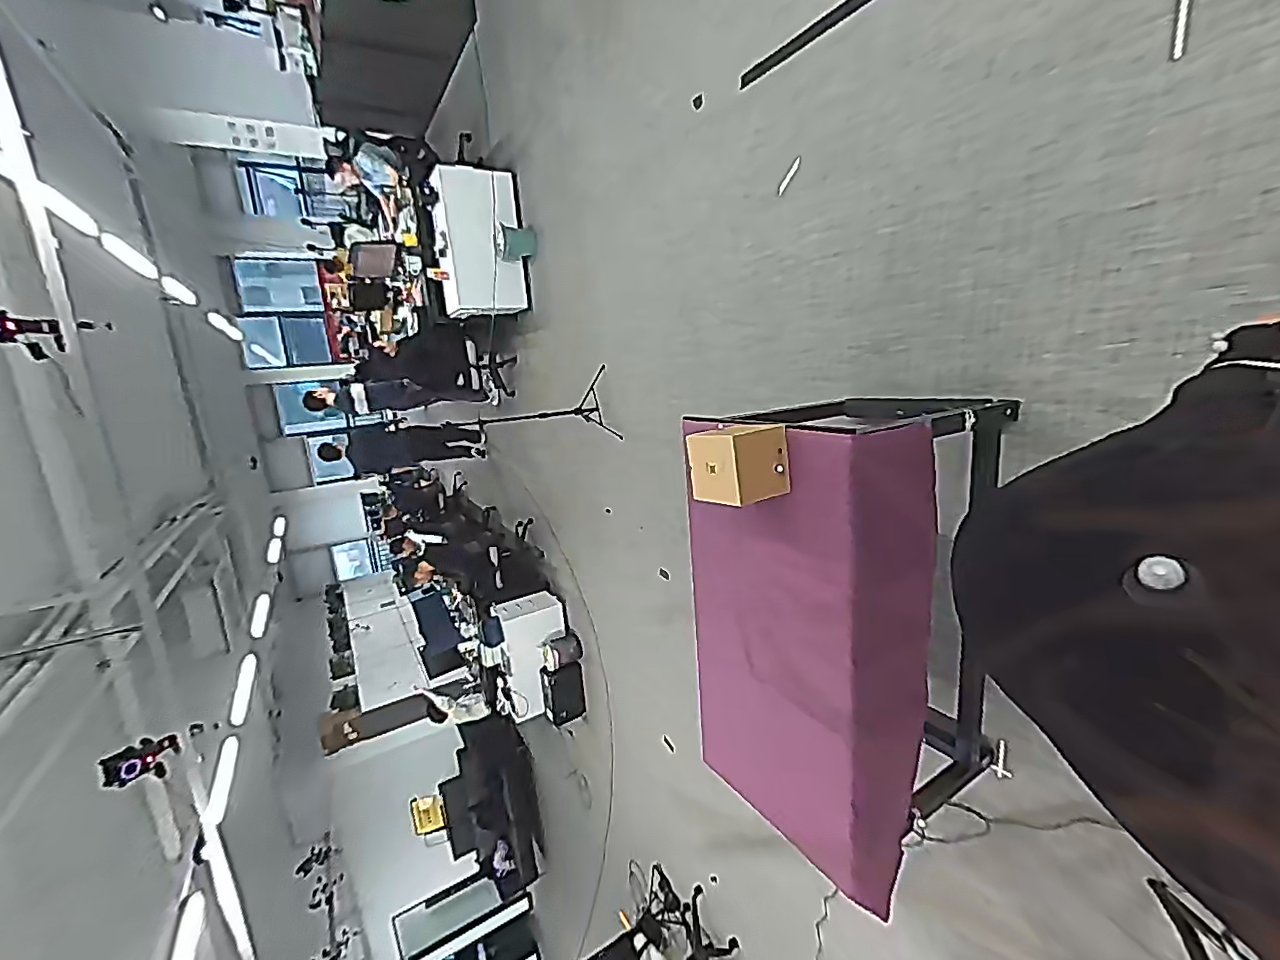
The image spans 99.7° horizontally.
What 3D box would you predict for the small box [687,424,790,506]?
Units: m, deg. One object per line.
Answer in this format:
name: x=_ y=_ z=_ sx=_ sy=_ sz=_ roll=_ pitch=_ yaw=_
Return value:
small box: x=0.240 y=-0.042 z=1.318 sx=0.179 sy=0.176 sz=0.168 roll=8 pitch=110 yaw=60
